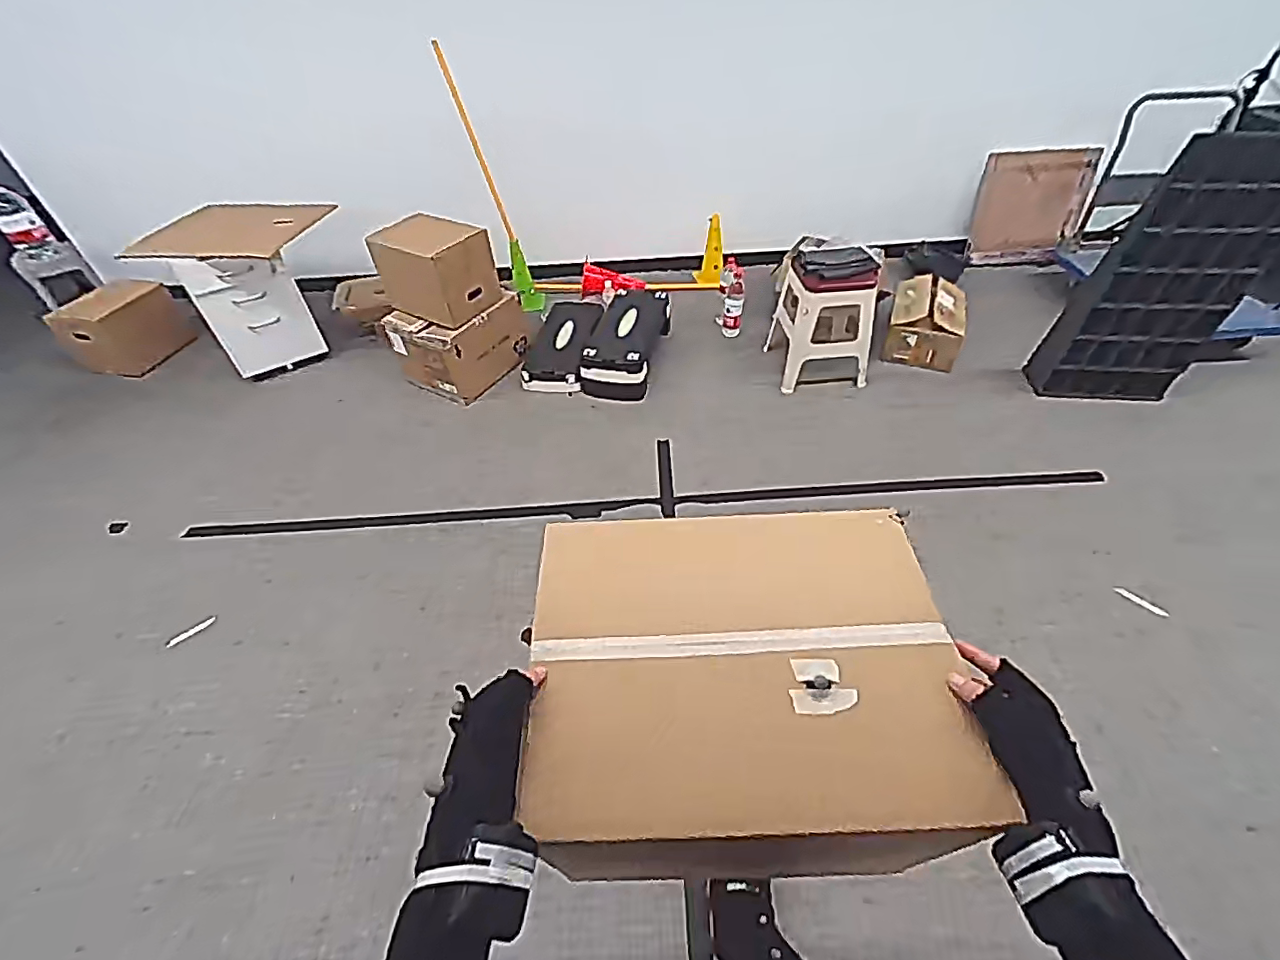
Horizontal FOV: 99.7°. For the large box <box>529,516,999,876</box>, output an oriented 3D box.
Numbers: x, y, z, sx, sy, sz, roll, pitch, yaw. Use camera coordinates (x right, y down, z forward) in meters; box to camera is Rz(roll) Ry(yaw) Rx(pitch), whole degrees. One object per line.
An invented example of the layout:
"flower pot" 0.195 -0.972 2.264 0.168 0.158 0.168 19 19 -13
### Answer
"large box" 0.102 0.266 0.657 0.408 0.320 0.320 -3 49 1
